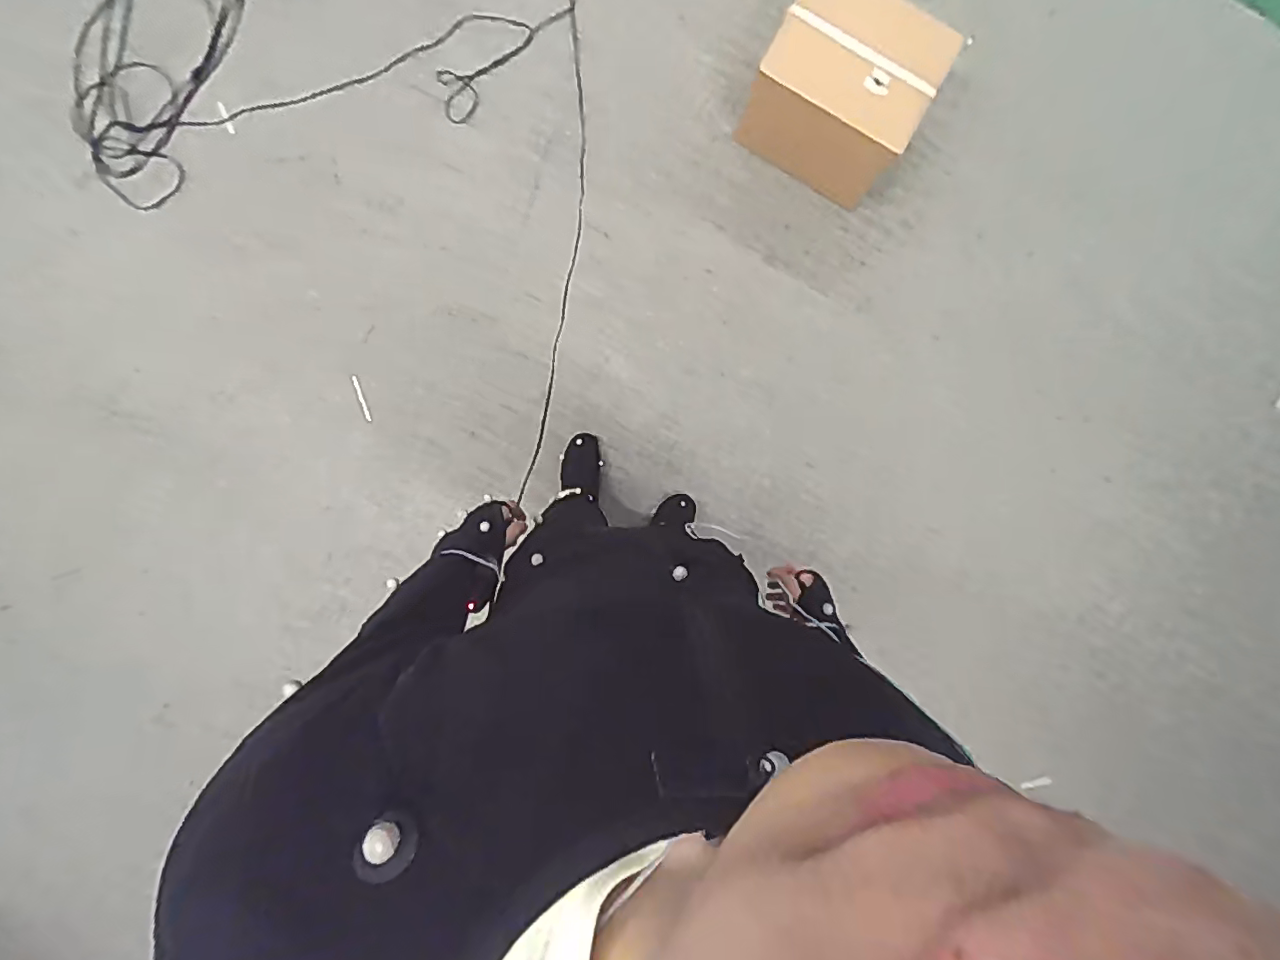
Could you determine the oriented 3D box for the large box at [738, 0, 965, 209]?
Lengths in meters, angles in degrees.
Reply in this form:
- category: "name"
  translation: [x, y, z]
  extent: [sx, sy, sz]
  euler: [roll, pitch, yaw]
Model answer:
- category: "large box"
  translation: [0.529, -1.013, 1.435]
  extent: [0.408, 0.320, 0.320]
  euler: [30, 93, -2]
